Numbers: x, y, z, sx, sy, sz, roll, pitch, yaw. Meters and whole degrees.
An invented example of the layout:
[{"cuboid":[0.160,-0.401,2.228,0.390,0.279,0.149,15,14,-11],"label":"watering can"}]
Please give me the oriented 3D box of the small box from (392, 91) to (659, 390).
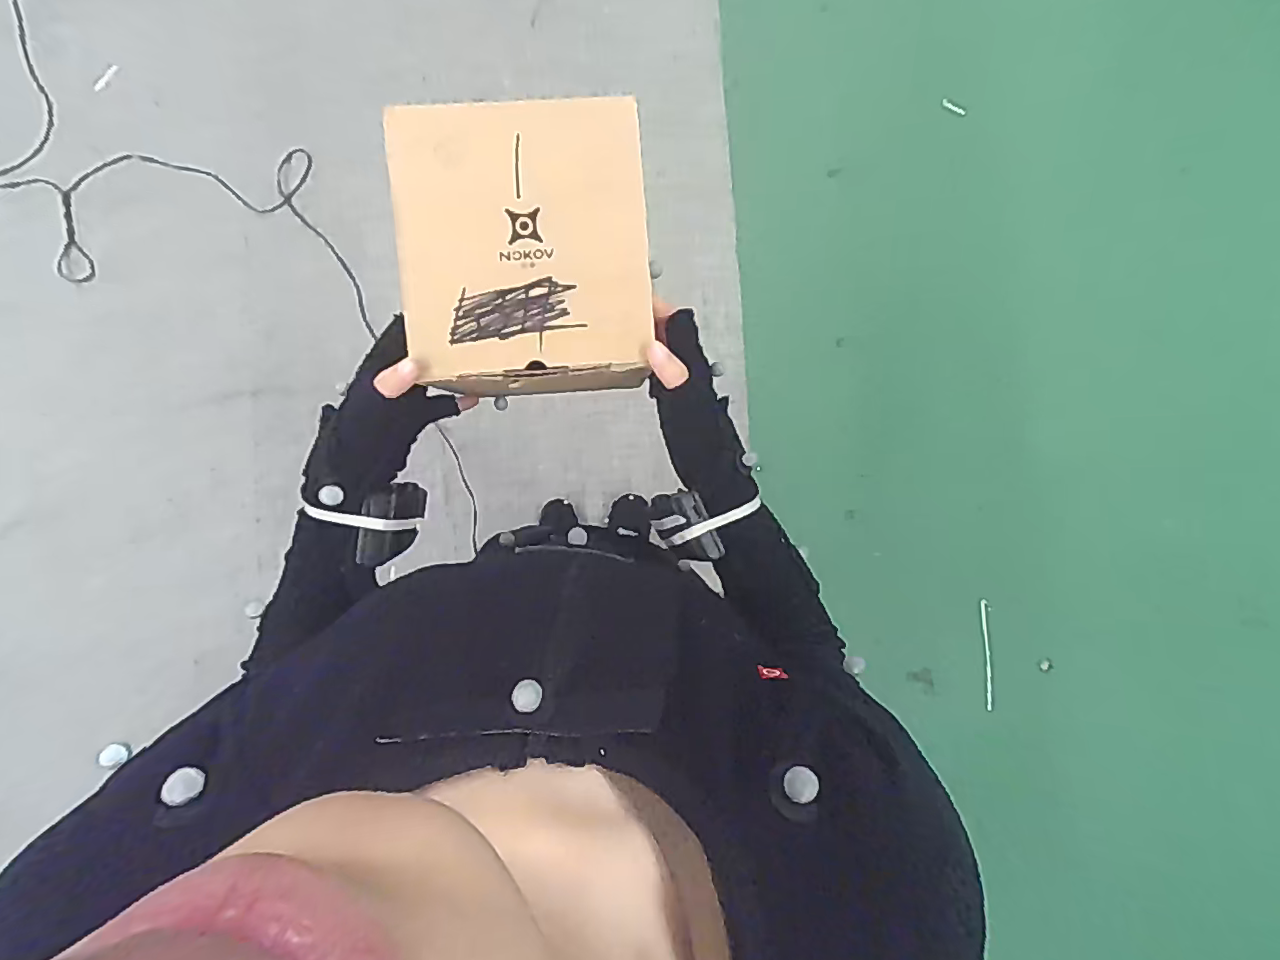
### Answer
[{"cuboid":[-0.076,-0.166,0.432,0.168,0.176,0.179,-4,94,-4],"label":"small box"}]
